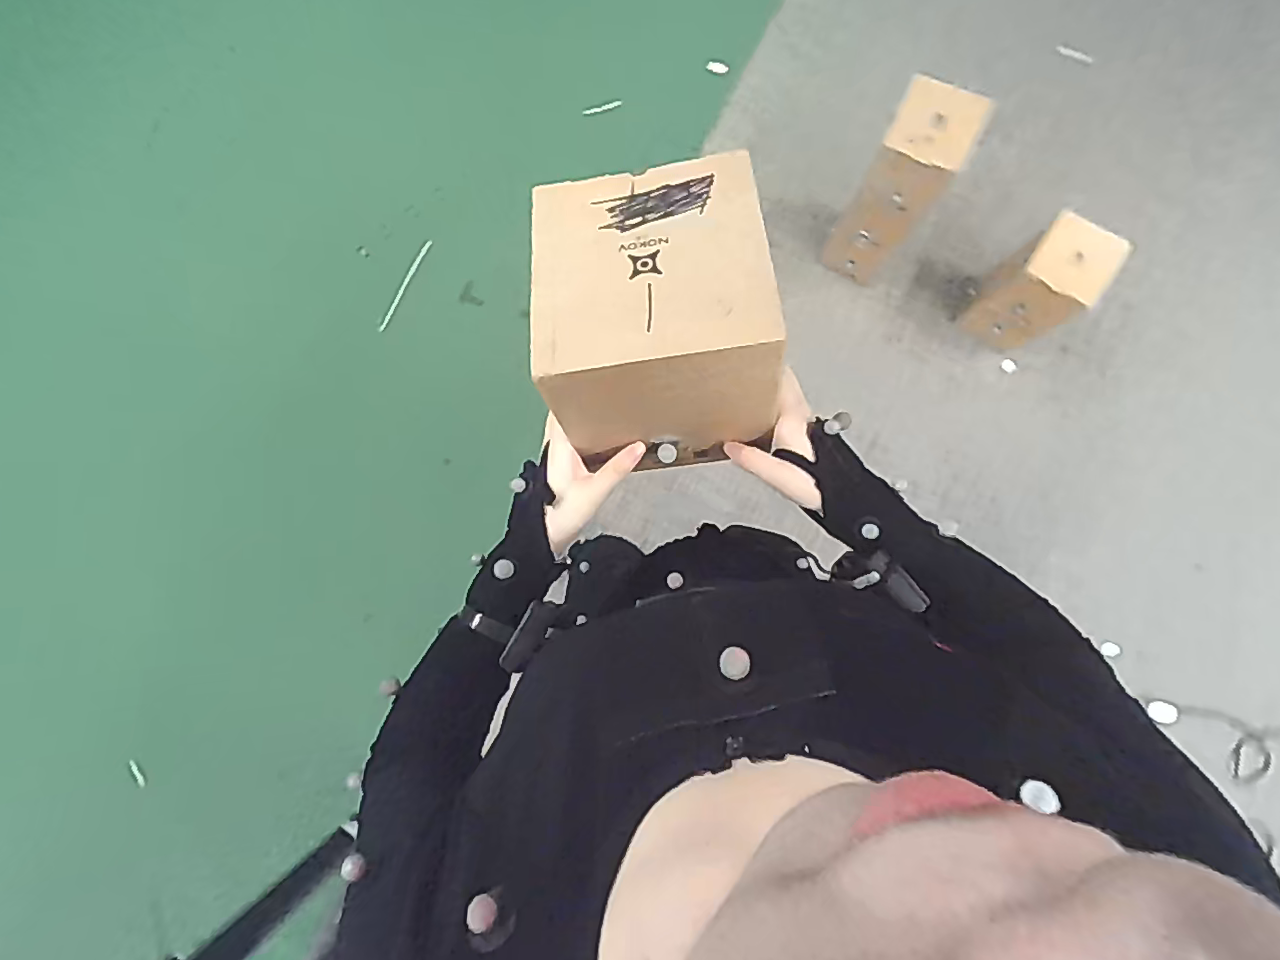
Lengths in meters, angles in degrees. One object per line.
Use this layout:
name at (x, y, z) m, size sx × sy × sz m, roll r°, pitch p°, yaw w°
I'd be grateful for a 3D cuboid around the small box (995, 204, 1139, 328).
small box at (0.976, -0.488, 1.256) m, size 0.168 × 0.176 × 0.179 m, roll 33°, pitch 88°, yaw 7°

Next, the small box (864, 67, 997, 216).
small box at (0.601, -0.707, 1.145) m, size 0.168 × 0.176 × 0.179 m, roll 26°, pitch 86°, yaw 9°

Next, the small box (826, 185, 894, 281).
small box at (0.626, -0.678, 1.470) m, size 0.168 × 0.176 × 0.179 m, roll 29°, pitch 88°, yaw 7°

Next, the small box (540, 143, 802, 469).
small box at (0.027, -0.126, 0.438) m, size 0.168 × 0.176 × 0.179 m, roll -5°, pitch 67°, yaw 8°

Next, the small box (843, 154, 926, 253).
small box at (0.615, -0.693, 1.309) m, size 0.168 × 0.176 × 0.179 m, roll 26°, pitch 88°, yaw 8°
